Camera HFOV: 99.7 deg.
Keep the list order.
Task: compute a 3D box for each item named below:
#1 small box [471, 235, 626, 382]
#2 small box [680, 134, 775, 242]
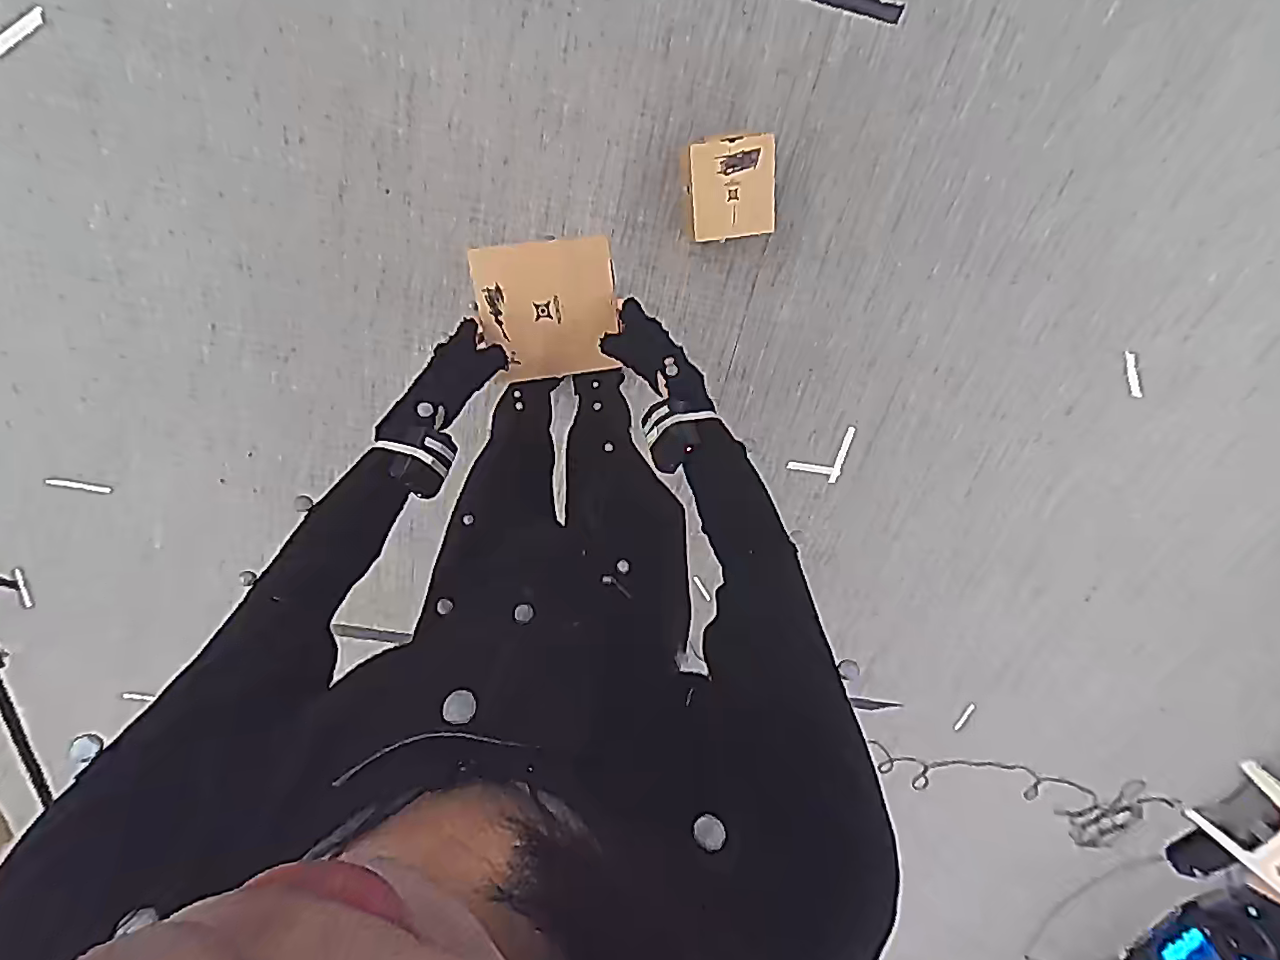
[{"bbox_3d":[-0.126,-0.240,0.753,0.179,0.176,0.168,-9,109,-8],"label":"small box"},{"bbox_3d":[0.178,-0.603,1.129,0.168,0.176,0.179,-7,118,0],"label":"small box"}]
